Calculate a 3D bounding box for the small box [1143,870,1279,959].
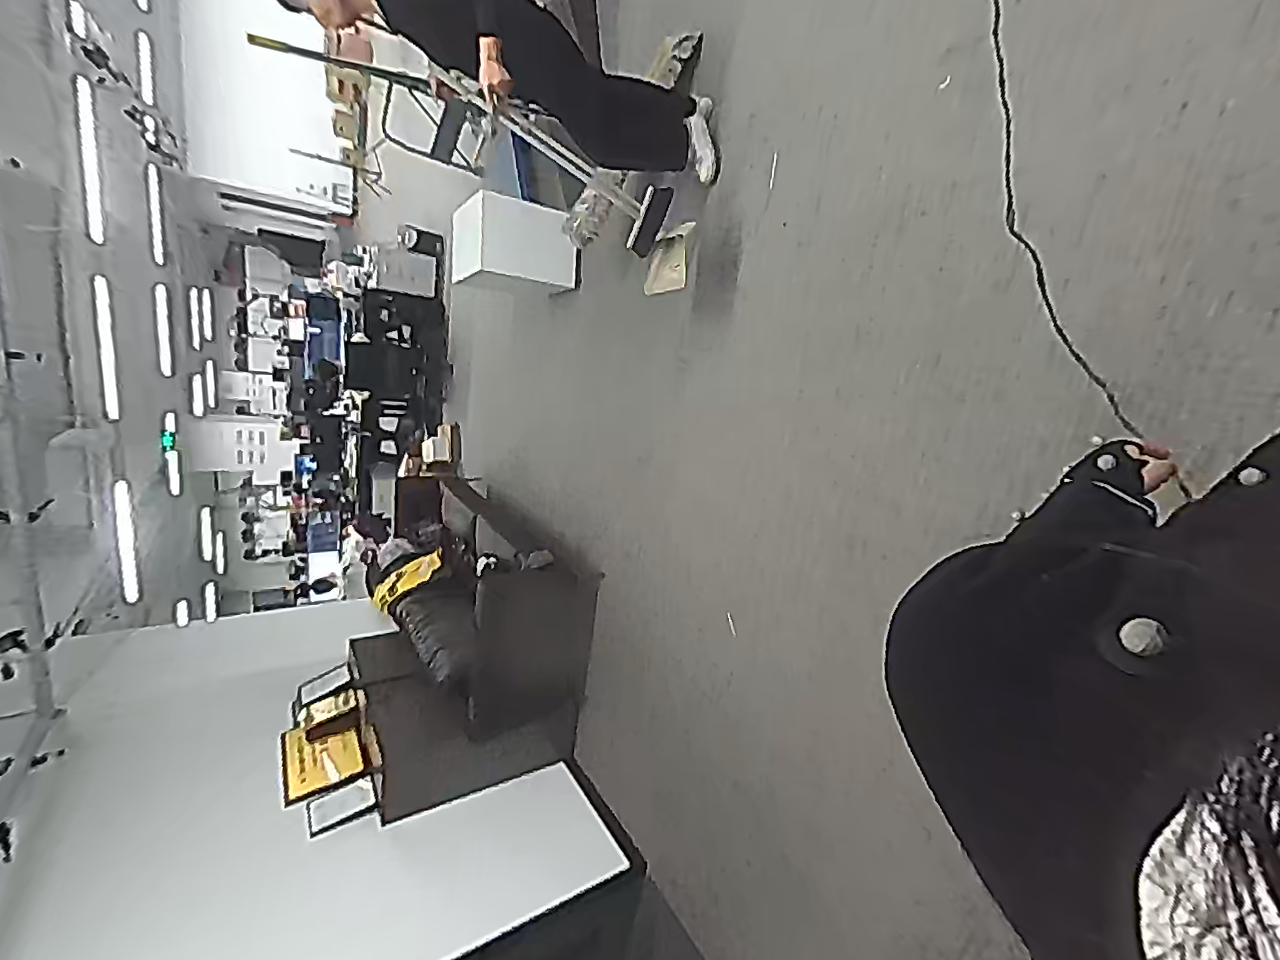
[{"bbox_3d":[1.118,0.900,1.025,0.168,0.176,0.179,34,118,49],"label":"small box"}]
